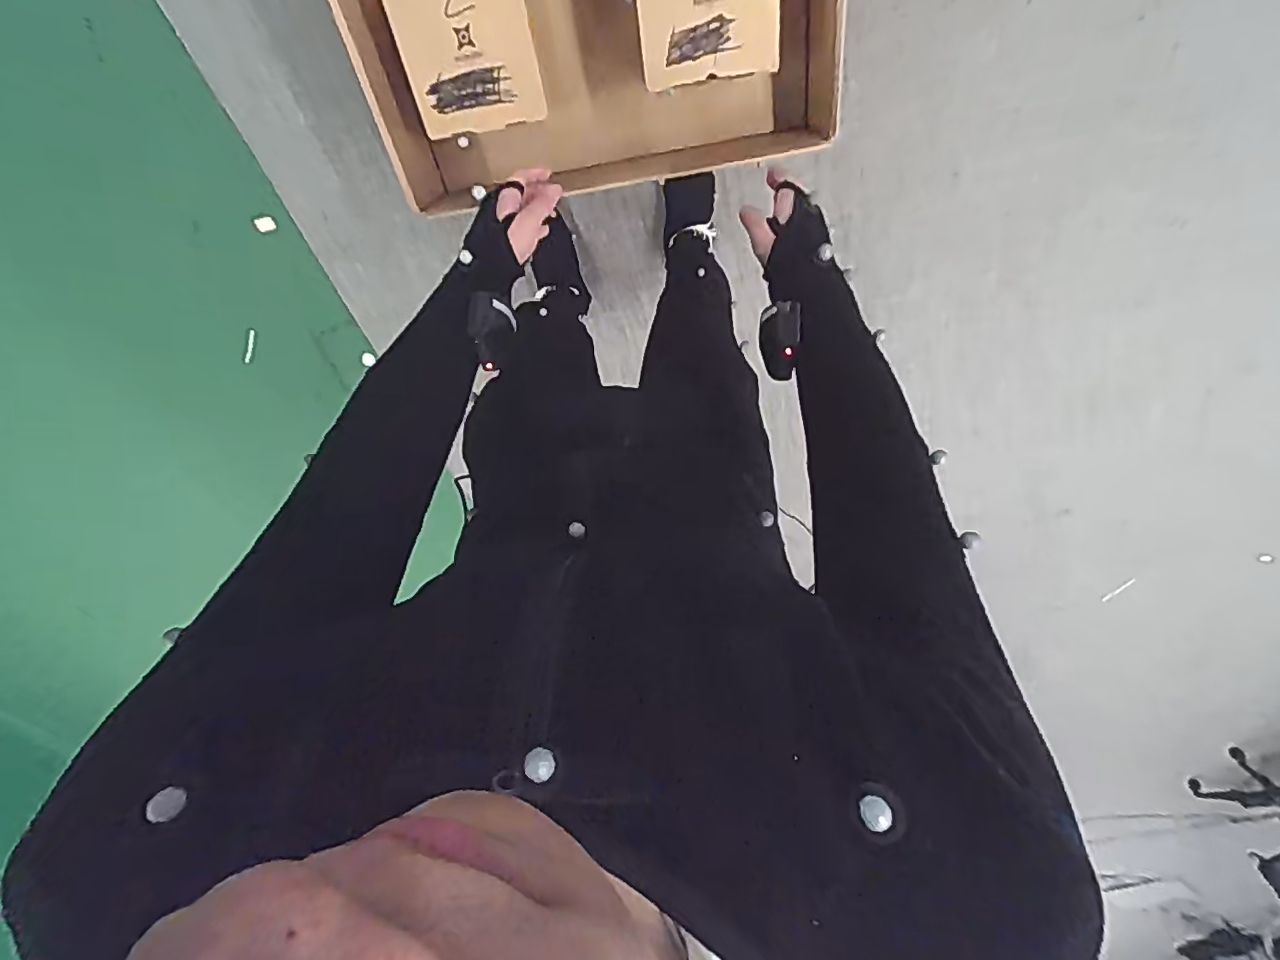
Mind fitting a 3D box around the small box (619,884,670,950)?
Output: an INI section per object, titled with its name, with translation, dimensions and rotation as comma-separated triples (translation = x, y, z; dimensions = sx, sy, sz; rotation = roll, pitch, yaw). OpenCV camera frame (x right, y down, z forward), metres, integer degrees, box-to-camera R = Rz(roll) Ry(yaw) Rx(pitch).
[small box]
translation = 0.021, 1.738, 2.152
dimensions = 0.168, 0.176, 0.179
rotation = -13, 125, 10
